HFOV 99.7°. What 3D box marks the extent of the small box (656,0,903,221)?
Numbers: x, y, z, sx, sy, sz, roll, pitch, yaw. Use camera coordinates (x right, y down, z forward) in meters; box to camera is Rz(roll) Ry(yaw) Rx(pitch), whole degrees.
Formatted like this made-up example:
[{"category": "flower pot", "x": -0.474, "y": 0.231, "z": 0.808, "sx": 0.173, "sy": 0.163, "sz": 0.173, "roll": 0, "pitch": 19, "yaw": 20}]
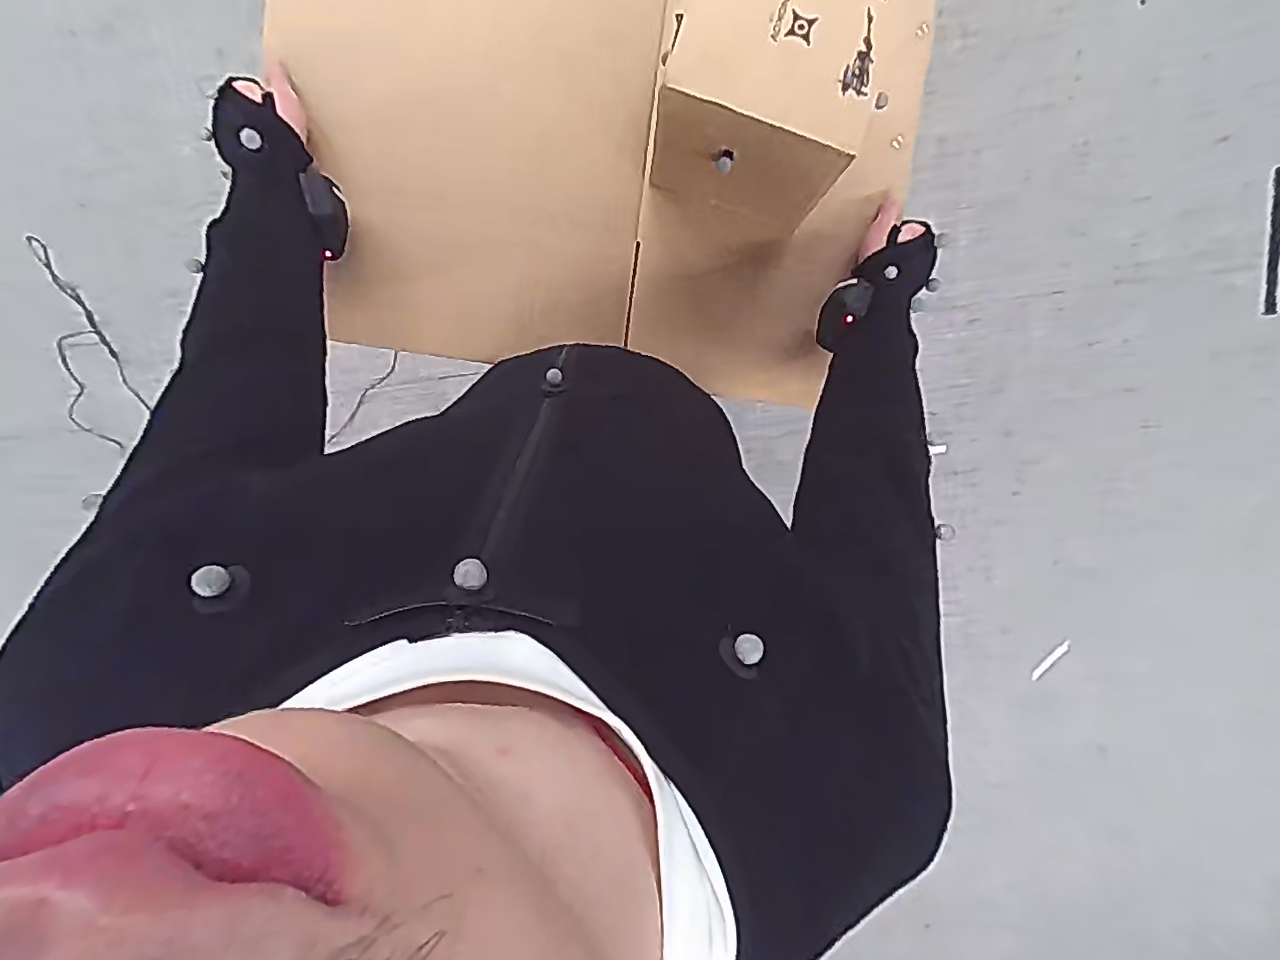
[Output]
[{"category": "small box", "x": 0.120, "y": -0.384, "z": 0.529, "sx": 0.179, "sy": 0.176, "sz": 0.168, "roll": 18, "pitch": 94, "yaw": -2}]
